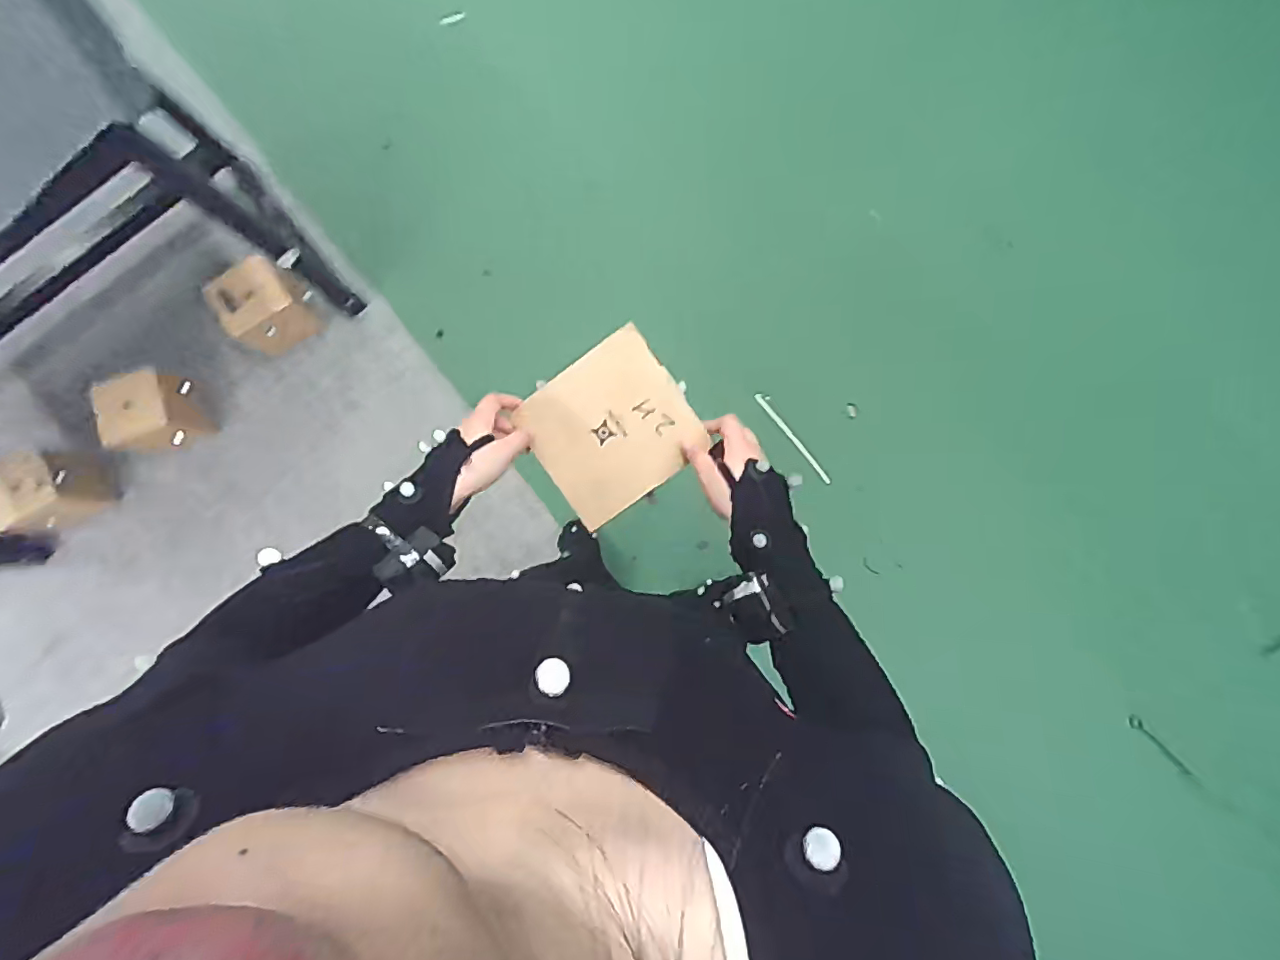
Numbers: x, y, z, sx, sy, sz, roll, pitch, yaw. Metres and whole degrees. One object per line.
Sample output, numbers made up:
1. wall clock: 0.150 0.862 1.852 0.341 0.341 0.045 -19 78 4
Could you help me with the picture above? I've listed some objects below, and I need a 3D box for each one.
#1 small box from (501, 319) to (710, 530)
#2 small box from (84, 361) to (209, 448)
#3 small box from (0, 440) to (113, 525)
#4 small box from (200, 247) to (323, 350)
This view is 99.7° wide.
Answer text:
1. small box: -0.032 -0.065 0.662 0.179 0.176 0.168 -37 93 7
2. small box: -1.300 -0.194 1.442 0.179 0.176 0.168 -19 85 1
3. small box: -1.578 0.013 1.433 0.179 0.176 0.168 -27 86 0
4. small box: -1.009 -0.478 1.456 0.179 0.176 0.168 -34 87 -2
